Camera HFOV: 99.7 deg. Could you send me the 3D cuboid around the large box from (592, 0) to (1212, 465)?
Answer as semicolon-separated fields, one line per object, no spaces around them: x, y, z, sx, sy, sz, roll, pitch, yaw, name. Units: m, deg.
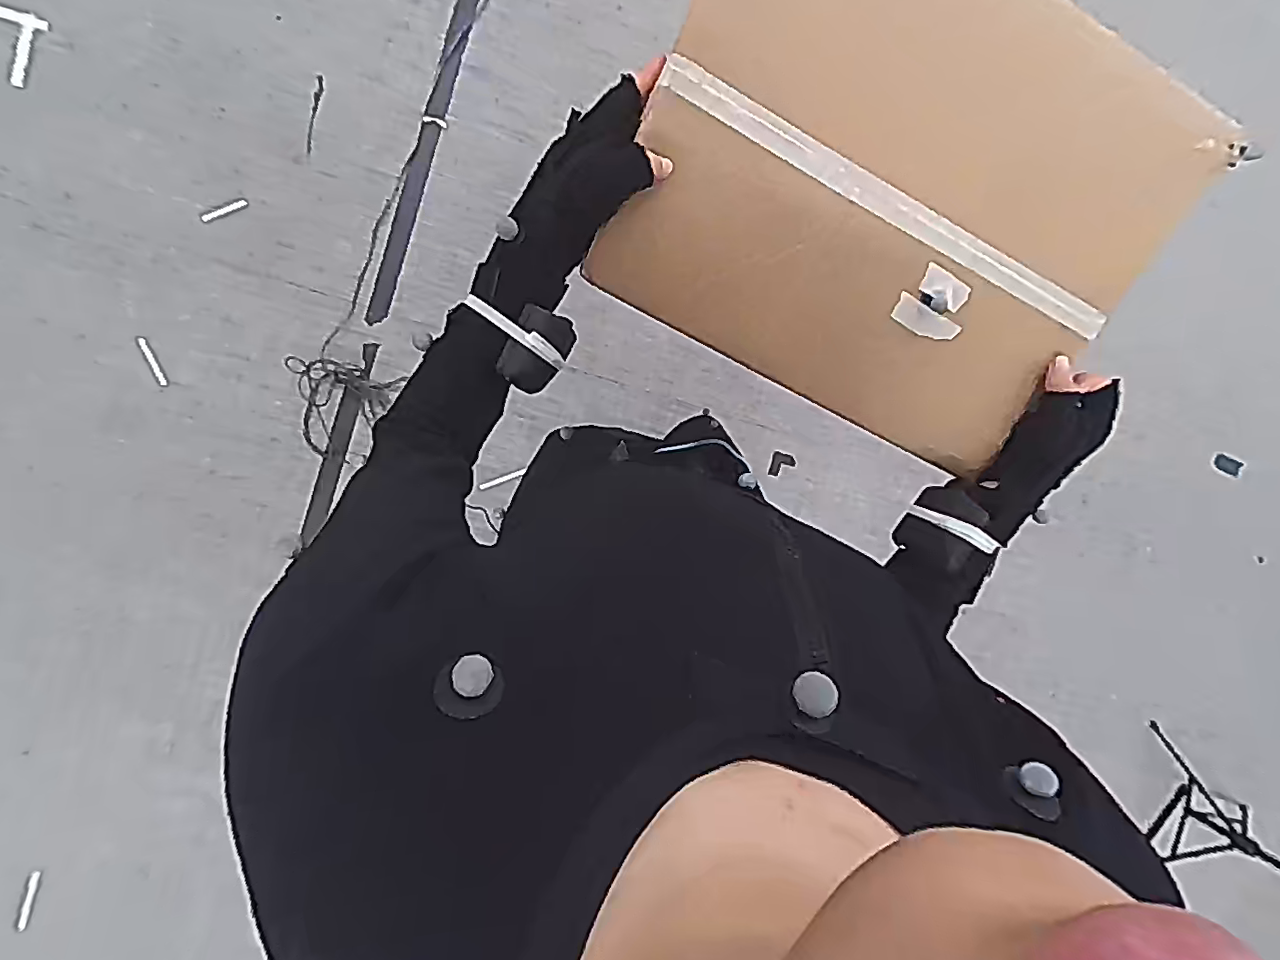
0.198;-0.275;0.571;0.408;0.320;0.320;25;111;-11;large box
